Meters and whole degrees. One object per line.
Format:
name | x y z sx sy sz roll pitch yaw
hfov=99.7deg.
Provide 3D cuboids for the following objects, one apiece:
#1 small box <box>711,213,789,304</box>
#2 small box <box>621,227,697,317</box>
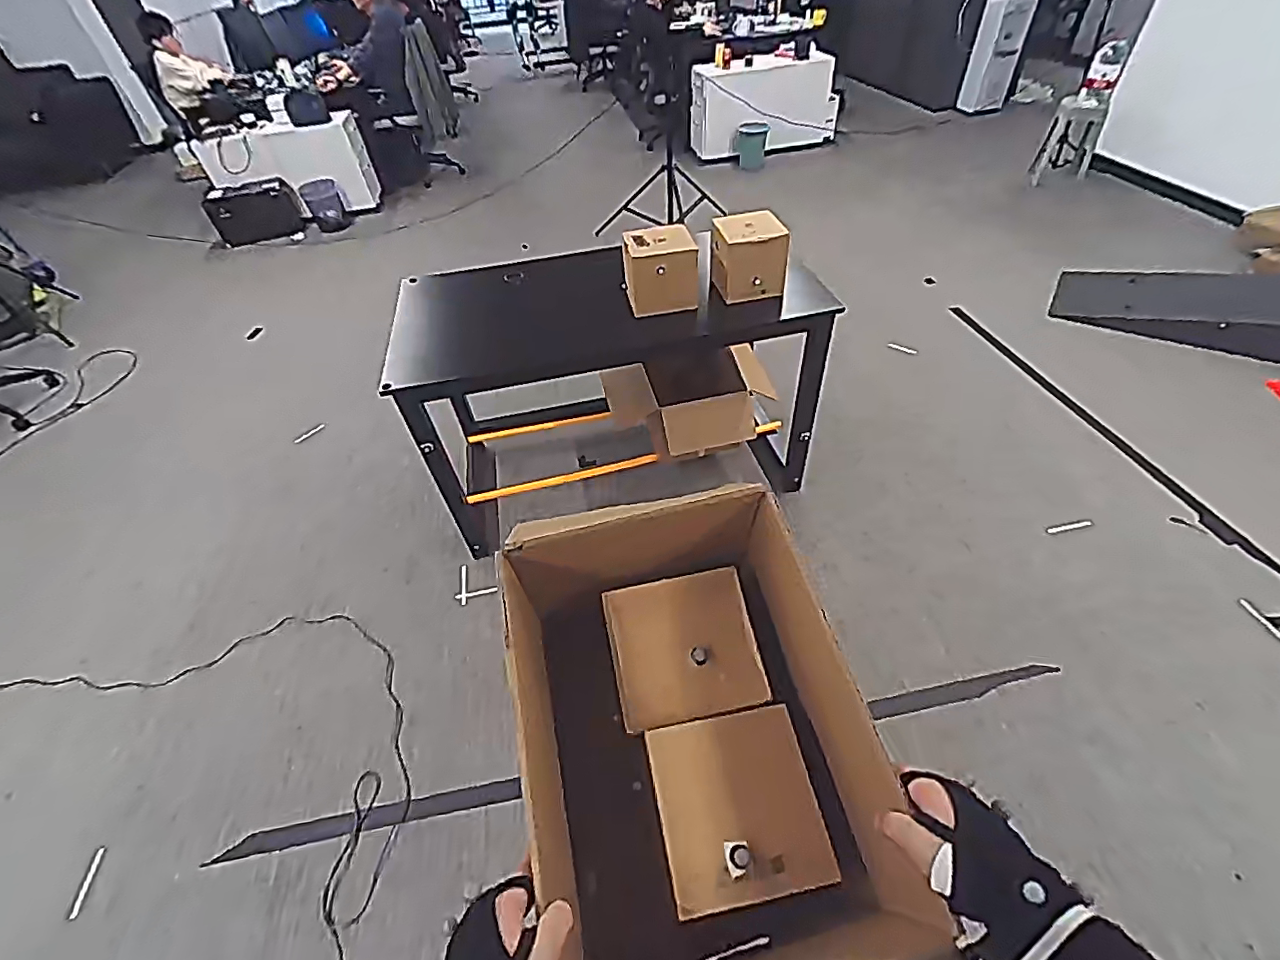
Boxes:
small box | 0.294 -0.607 1.485 0.168 0.176 0.179 -11 46 -3
small box | 0.053 -0.561 1.469 0.179 0.176 0.168 -10 46 -4
